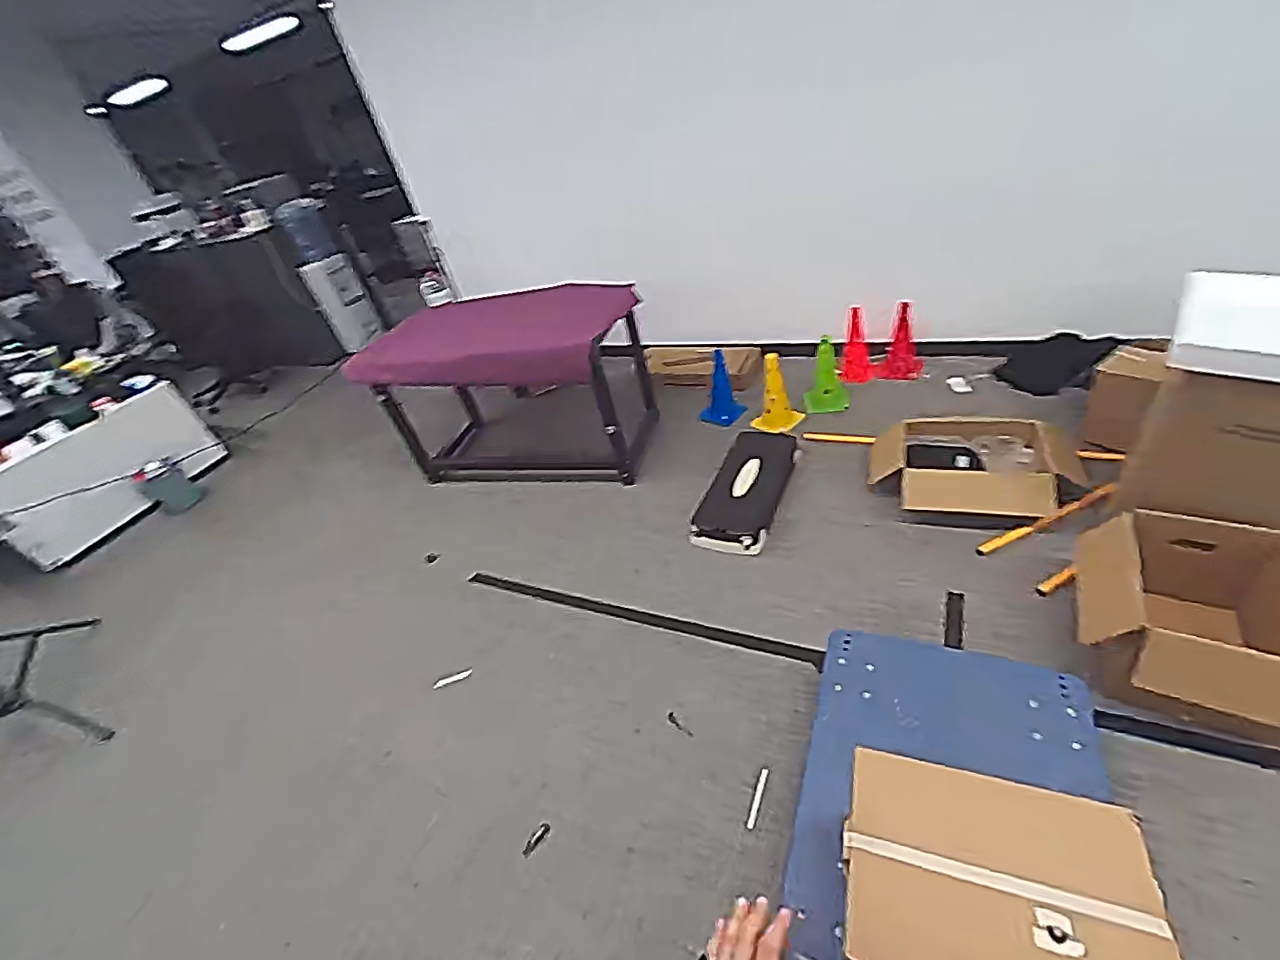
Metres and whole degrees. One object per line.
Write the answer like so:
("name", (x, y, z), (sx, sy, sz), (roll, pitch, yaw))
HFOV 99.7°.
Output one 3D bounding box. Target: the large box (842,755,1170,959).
("large box", (0.557, 0.723, 0.900), (0.408, 0.320, 0.320), (4, 42, 22))
